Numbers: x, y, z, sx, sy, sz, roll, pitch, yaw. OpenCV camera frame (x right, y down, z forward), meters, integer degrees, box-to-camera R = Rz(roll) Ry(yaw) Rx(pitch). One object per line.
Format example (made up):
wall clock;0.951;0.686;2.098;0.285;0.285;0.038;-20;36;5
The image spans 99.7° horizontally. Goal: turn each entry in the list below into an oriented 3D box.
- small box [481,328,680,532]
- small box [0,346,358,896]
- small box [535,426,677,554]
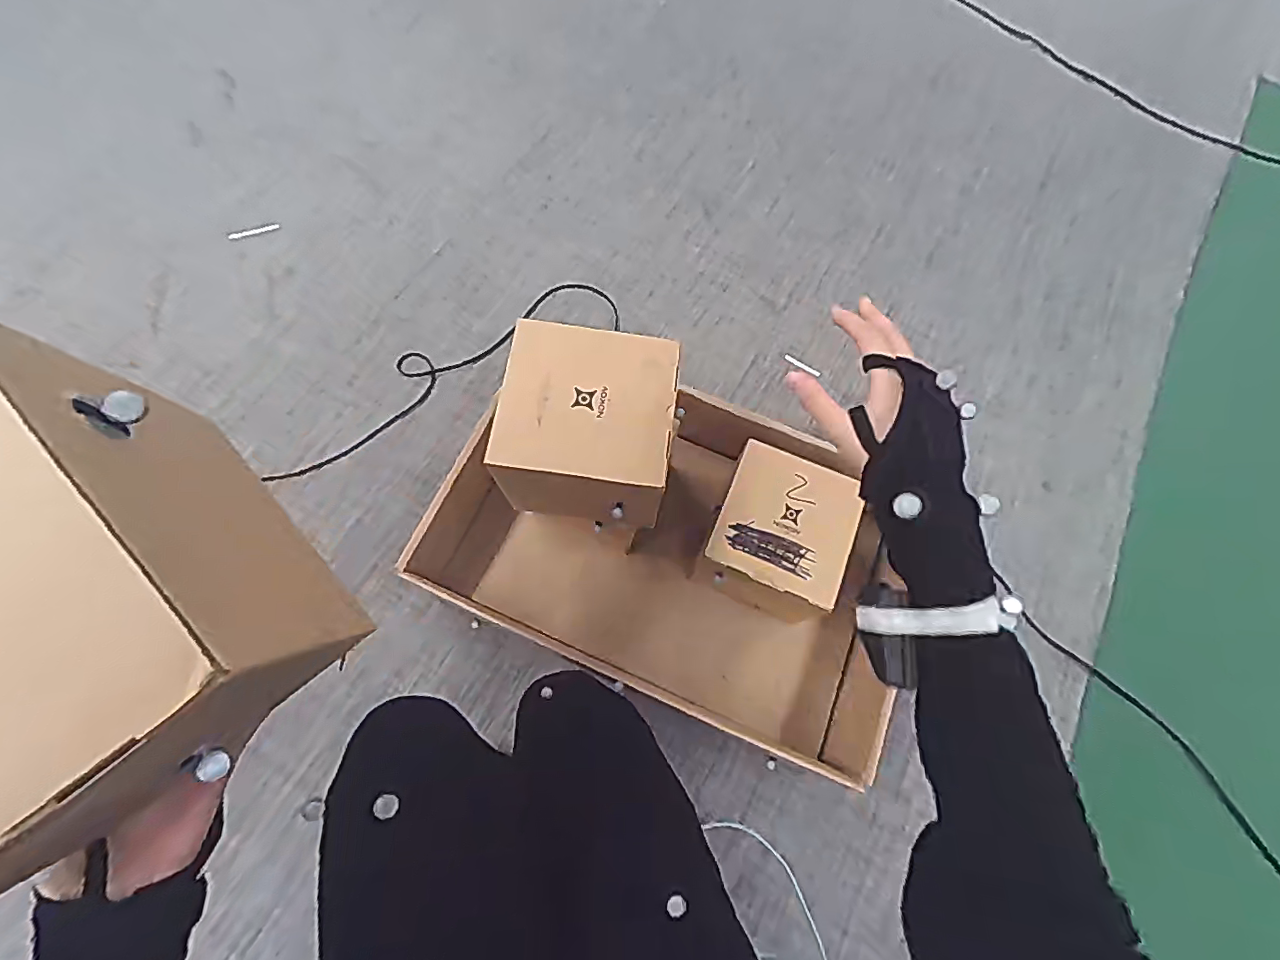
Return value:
small box;-0.058;-0.045;0.615;0.179;0.176;0.168;9;71;1
small box;-0.275;0.072;0.252;0.168;0.176;0.179;-38;89;-13
small box;-0.066;-0.008;0.775;0.179;0.176;0.168;24;72;5
